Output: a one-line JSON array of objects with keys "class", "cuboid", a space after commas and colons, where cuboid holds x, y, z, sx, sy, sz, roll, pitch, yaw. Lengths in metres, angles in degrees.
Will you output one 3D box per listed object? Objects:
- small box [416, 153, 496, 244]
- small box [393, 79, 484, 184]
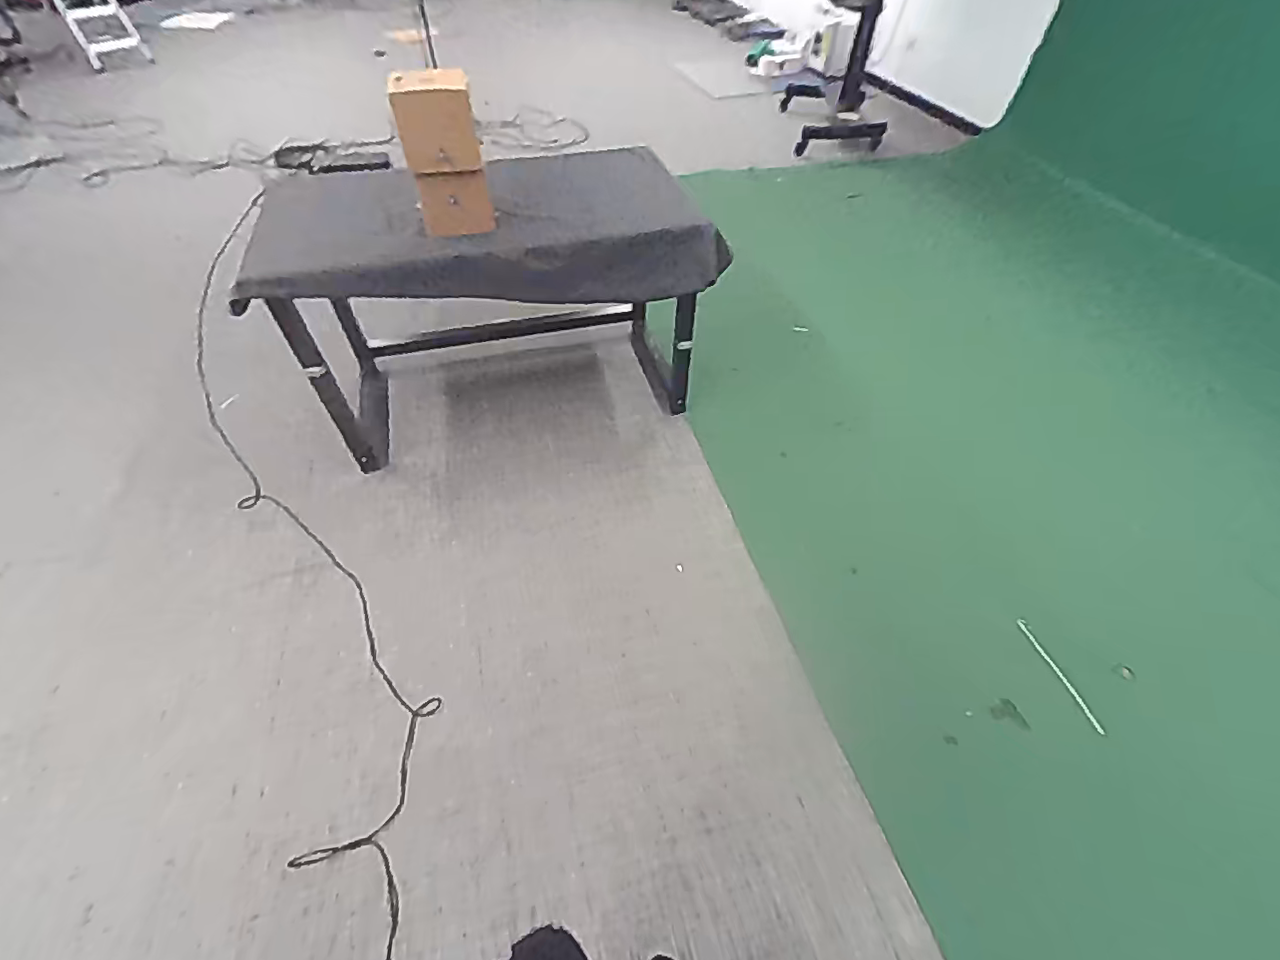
[{"class": "small box", "cuboid": [-0.488, -0.755, 1.446, 0.179, 0.176, 0.168, -12, 50, -10]}, {"class": "small box", "cuboid": [-0.483, -0.844, 1.311, 0.179, 0.176, 0.168, -13, 52, -11]}]
